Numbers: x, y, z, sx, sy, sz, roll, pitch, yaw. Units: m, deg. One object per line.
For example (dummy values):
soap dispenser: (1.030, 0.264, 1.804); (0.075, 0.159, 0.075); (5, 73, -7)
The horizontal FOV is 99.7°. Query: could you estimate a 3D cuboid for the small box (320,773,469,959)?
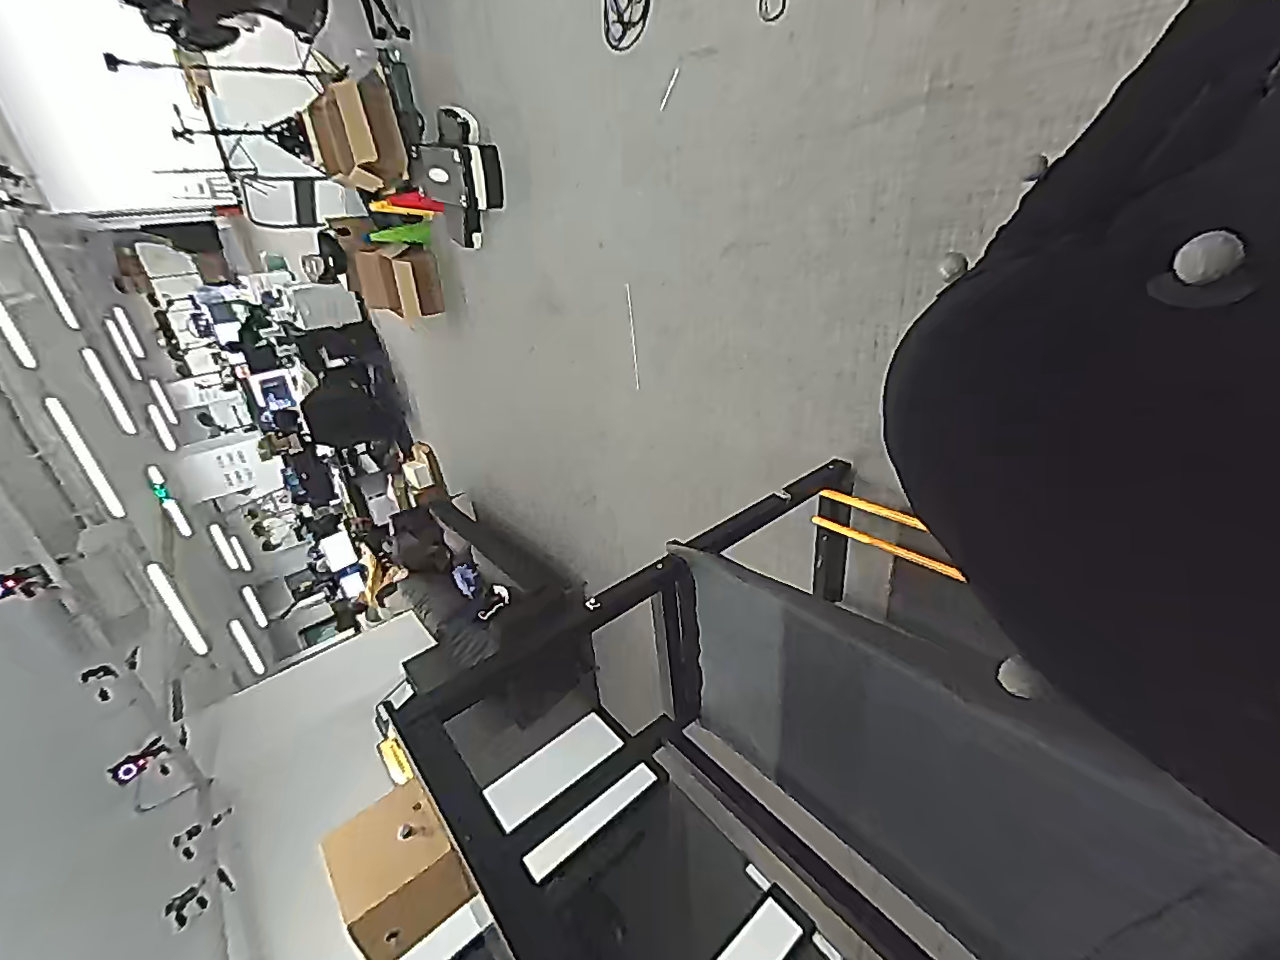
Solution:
small box: (-0.409, 0.652, 0.920); (0.168, 0.176, 0.179); (30, 132, 42)
